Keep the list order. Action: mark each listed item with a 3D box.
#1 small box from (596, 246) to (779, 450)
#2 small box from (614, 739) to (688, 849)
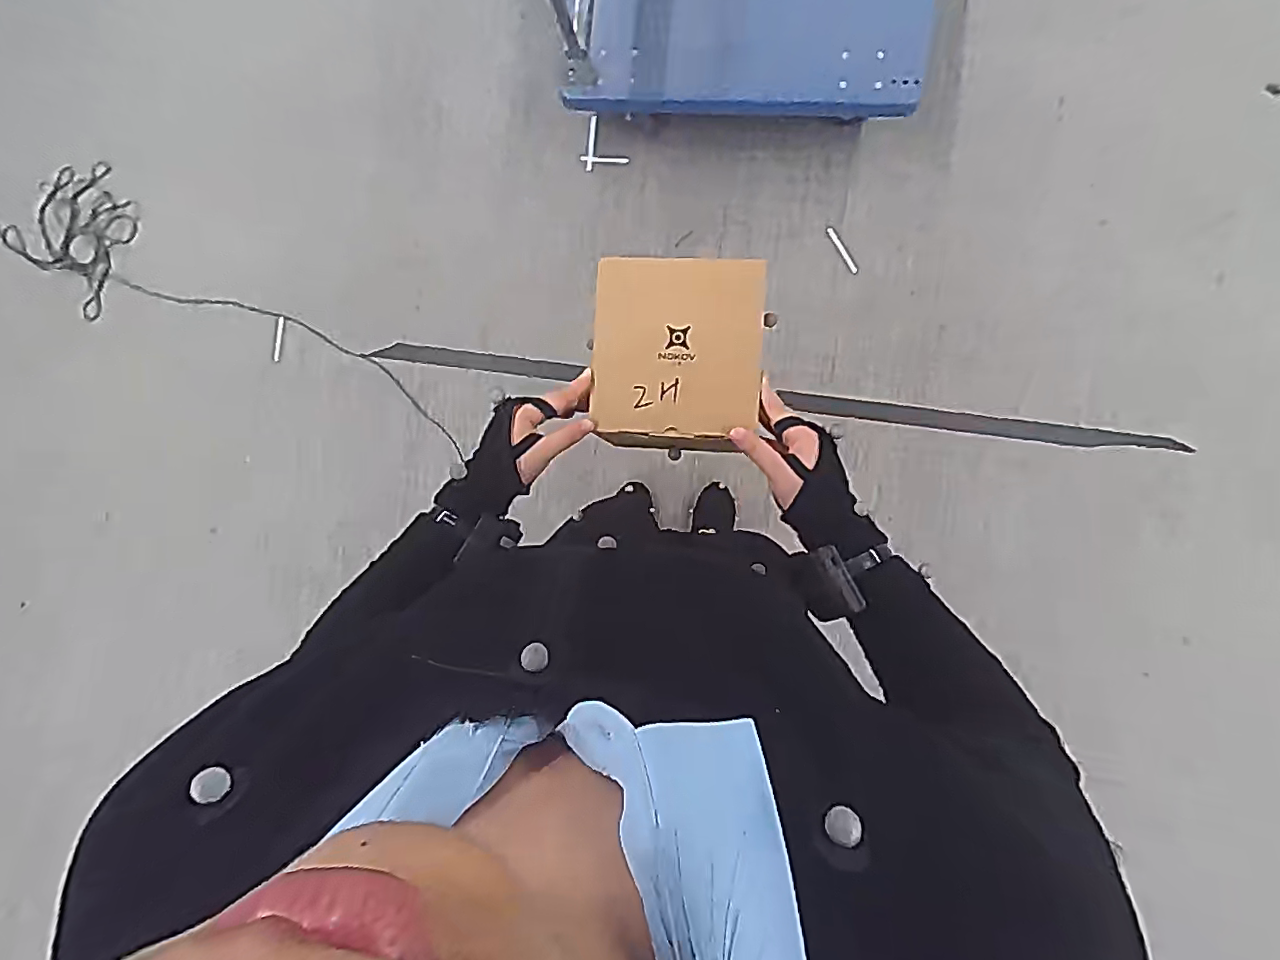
[{"bbox_3d":[0.052,-0.132,0.593,0.168,0.176,0.179,3,88,6],"label":"small box"},{"bbox_3d":[0.034,0.806,1.404,0.168,0.176,0.179,6,90,6],"label":"small box"}]
